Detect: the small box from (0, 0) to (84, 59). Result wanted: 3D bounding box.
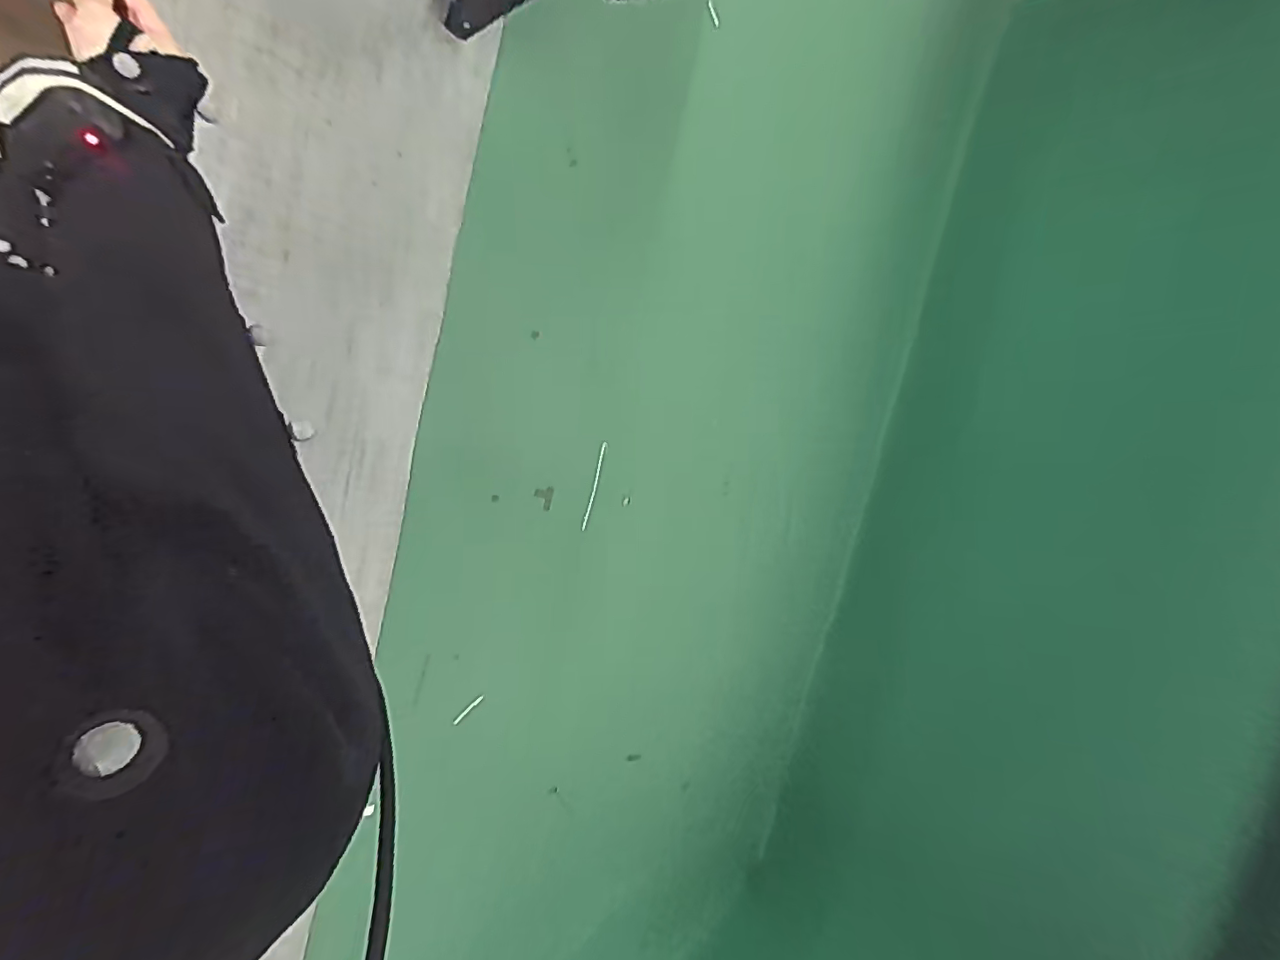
[{"bbox_3d":[-0.490,-0.437,0.359,0.179,0.176,0.168,9,86,-58],"label":"small box"}]
